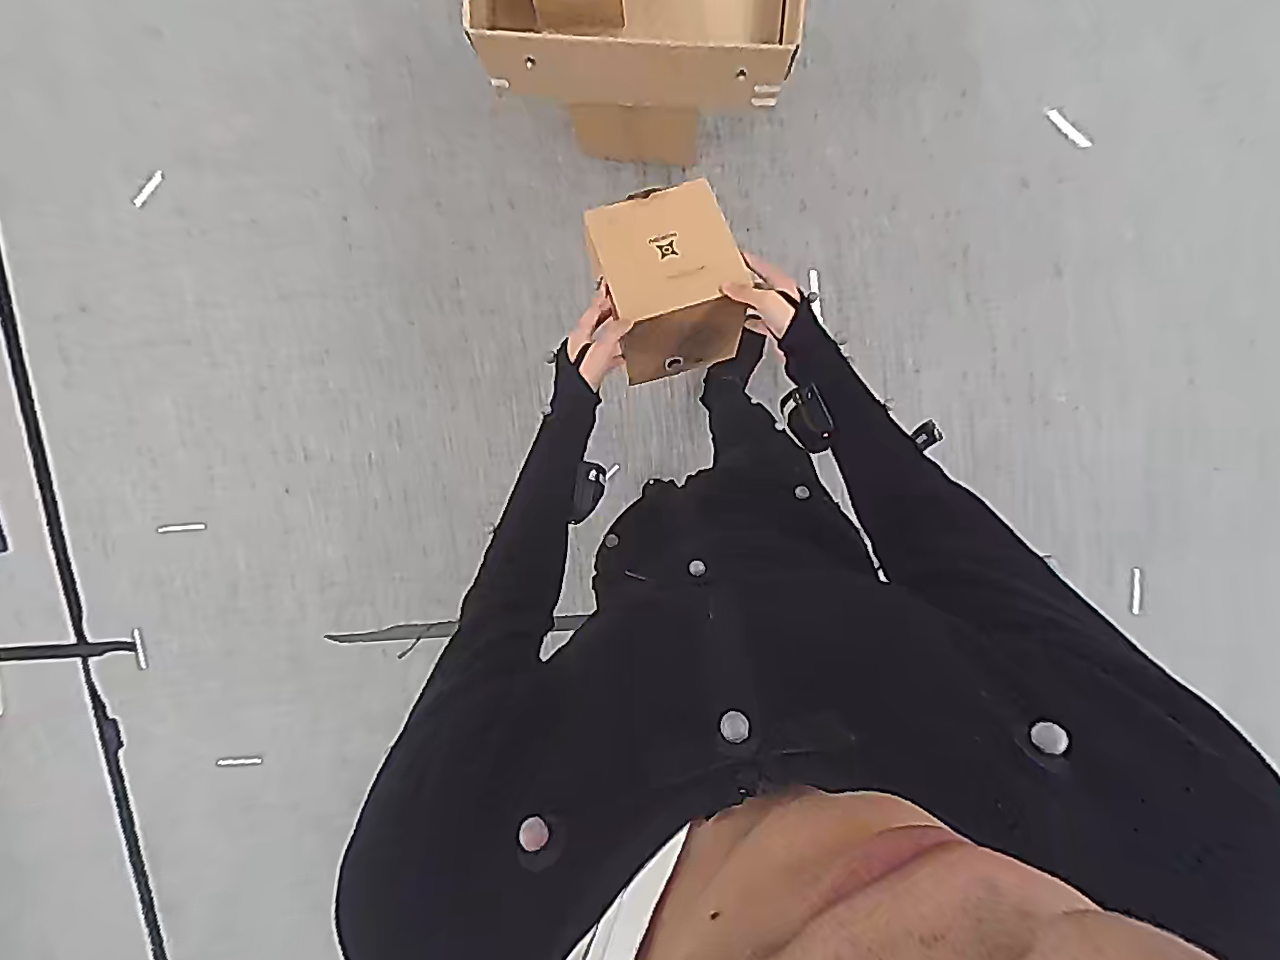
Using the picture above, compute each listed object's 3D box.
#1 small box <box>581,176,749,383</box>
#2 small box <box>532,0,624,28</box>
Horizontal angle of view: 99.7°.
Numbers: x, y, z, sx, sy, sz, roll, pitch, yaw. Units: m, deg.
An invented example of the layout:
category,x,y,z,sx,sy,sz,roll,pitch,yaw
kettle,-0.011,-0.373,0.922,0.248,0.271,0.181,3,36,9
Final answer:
category,x,y,z,sx,sy,sz,roll,pitch,yaw
small box,0.029,-0.260,0.730,0.168,0.176,0.179,-18,73,-4
small box,-0.122,-0.989,1.009,0.179,0.176,0.168,1,97,2
